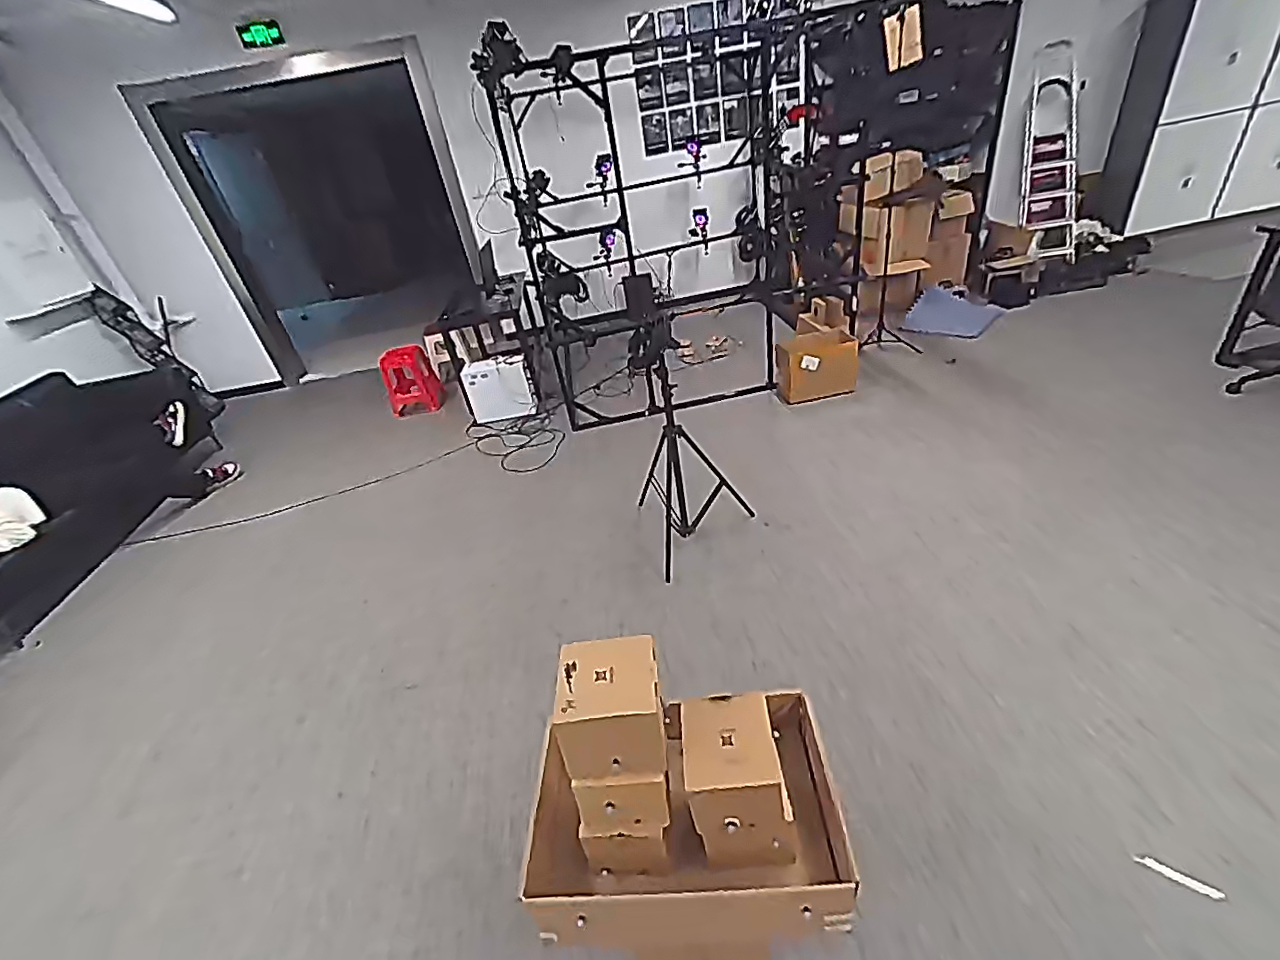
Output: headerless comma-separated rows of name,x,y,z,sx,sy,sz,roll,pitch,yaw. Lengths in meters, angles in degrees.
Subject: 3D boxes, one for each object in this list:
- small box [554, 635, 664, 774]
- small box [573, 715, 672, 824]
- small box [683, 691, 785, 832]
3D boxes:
small box,-0.048,0.407,0.983,0.179,0.176,0.168,-6,31,2
small box,-0.028,0.550,1.061,0.168,0.176,0.179,-5,32,4
small box,0.175,0.531,1.024,0.168,0.176,0.179,-9,32,7
